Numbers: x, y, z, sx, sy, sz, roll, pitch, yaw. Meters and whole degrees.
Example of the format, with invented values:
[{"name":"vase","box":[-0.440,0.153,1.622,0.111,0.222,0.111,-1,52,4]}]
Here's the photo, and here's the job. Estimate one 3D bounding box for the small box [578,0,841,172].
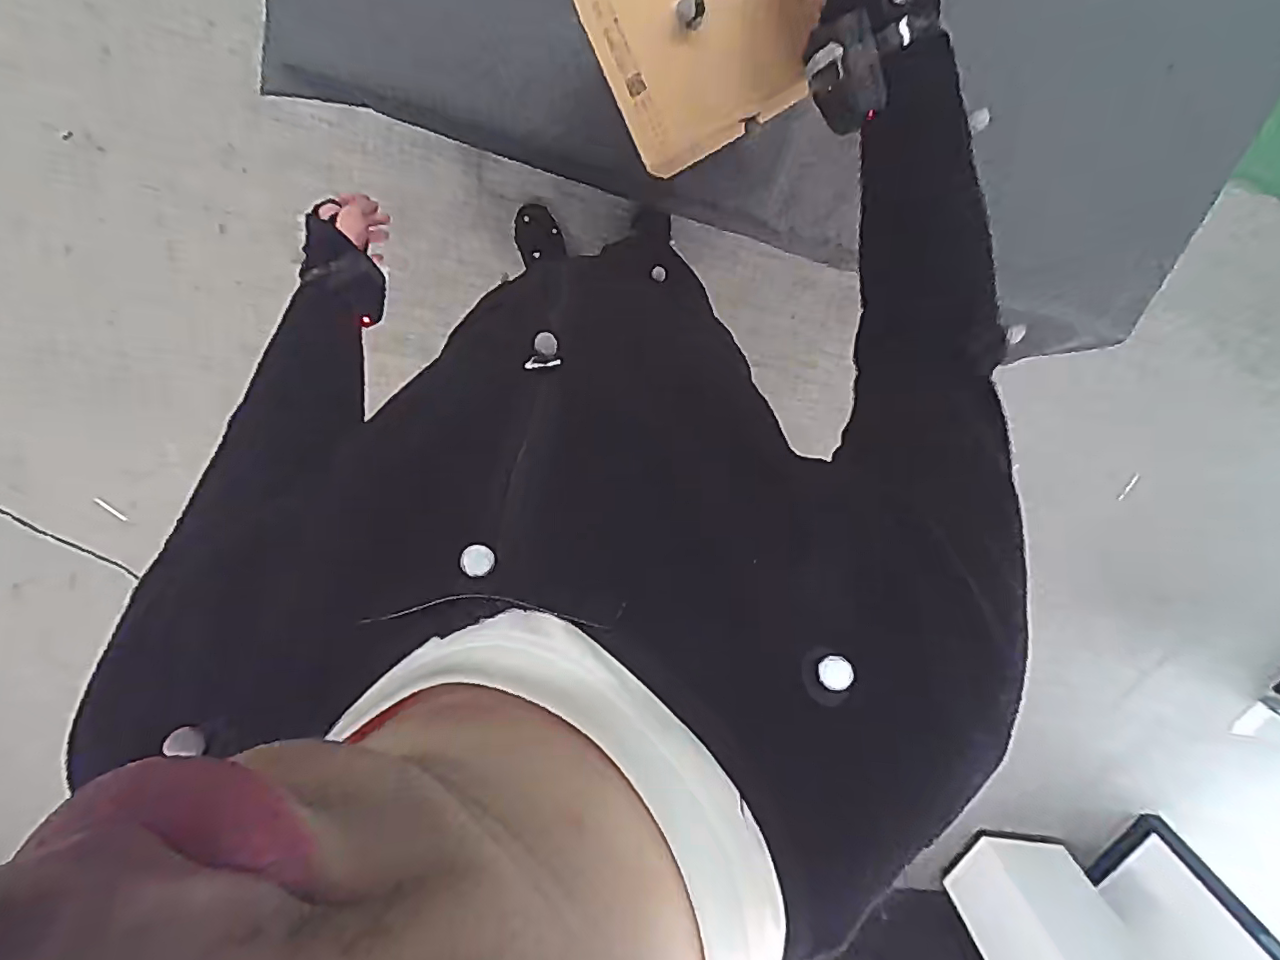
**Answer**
[{"name":"small box","box":[0.056,-0.405,0.491,0.176,0.179,0.168,-24,114,19]}]
